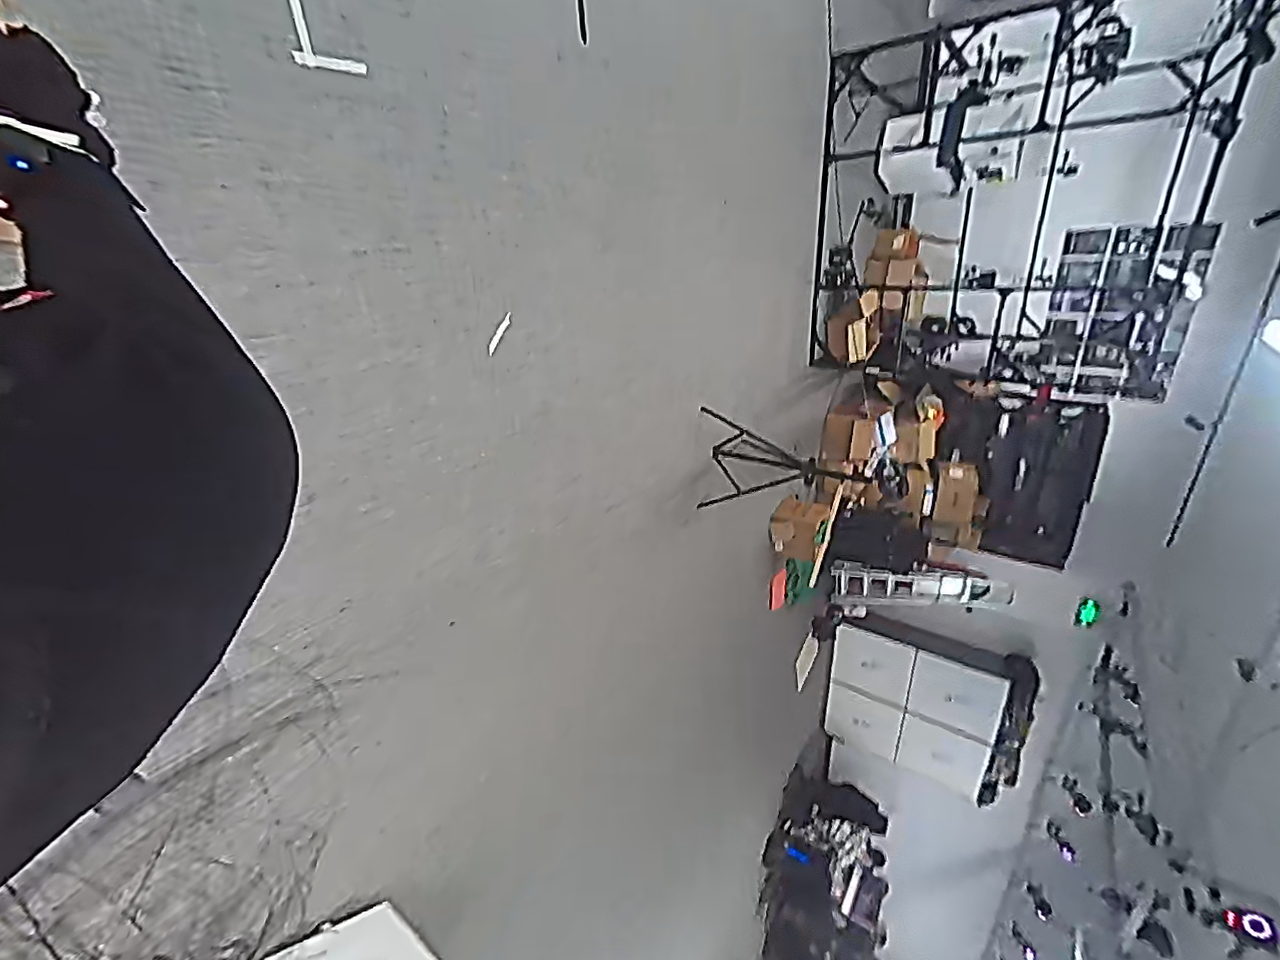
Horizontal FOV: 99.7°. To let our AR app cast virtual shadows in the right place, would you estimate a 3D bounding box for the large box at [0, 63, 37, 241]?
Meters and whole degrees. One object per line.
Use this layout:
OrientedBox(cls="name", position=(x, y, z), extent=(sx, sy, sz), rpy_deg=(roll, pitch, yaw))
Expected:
OrientedBox(cls="large box", position=(-0.771, -0.350, 0.359), extent=(0.408, 0.320, 0.320), rpy_deg=(-21, 119, -57))
